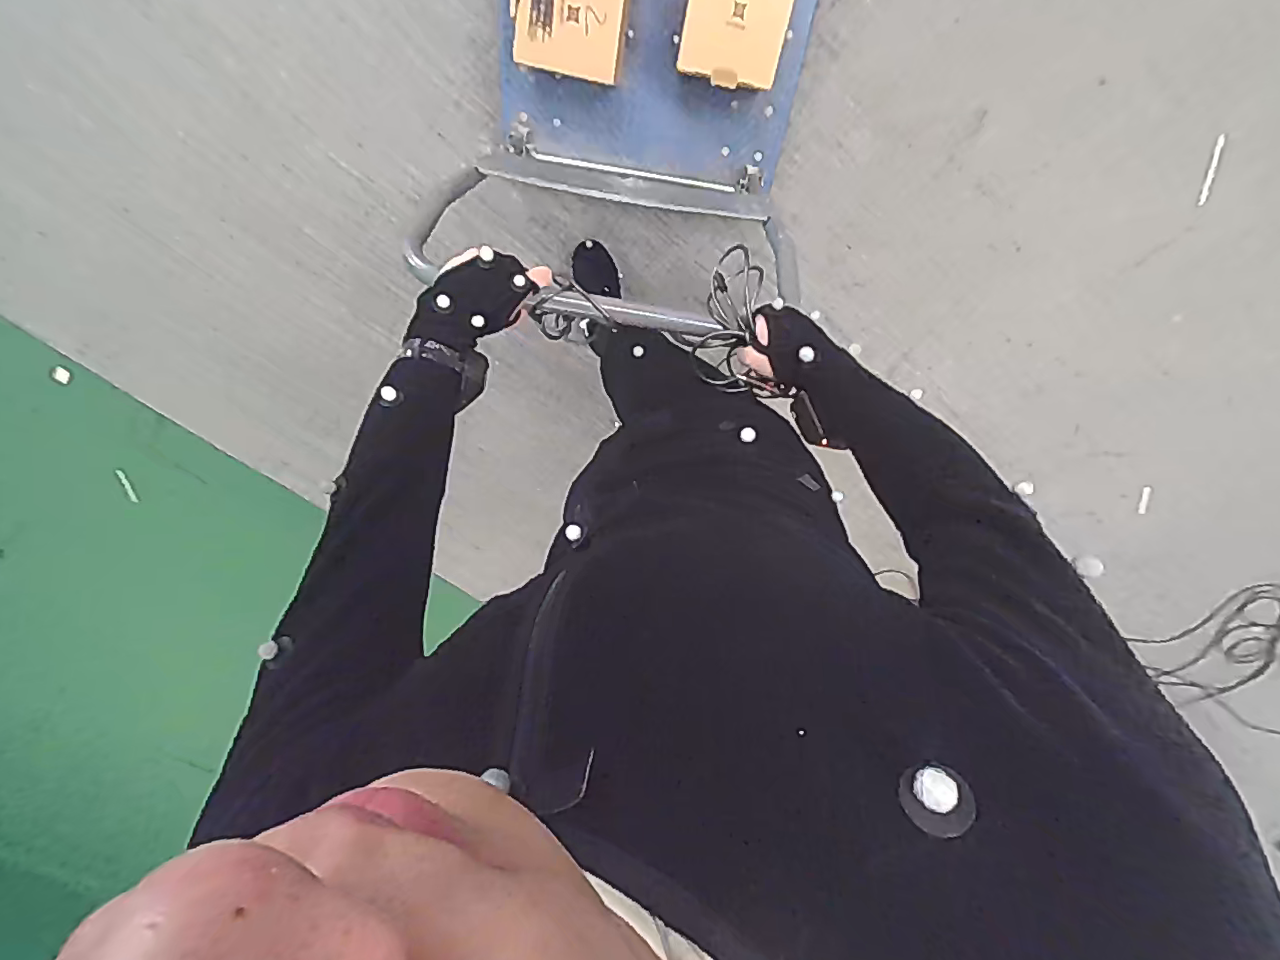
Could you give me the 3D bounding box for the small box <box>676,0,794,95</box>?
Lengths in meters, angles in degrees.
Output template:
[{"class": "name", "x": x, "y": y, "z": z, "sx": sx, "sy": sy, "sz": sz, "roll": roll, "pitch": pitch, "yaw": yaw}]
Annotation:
[{"class": "small box", "x": 0.159, "y": -0.786, "z": 0.928, "sx": 0.168, "sy": 0.176, "sz": 0.179, "roll": 11, "pitch": 127, "yaw": -3}]
